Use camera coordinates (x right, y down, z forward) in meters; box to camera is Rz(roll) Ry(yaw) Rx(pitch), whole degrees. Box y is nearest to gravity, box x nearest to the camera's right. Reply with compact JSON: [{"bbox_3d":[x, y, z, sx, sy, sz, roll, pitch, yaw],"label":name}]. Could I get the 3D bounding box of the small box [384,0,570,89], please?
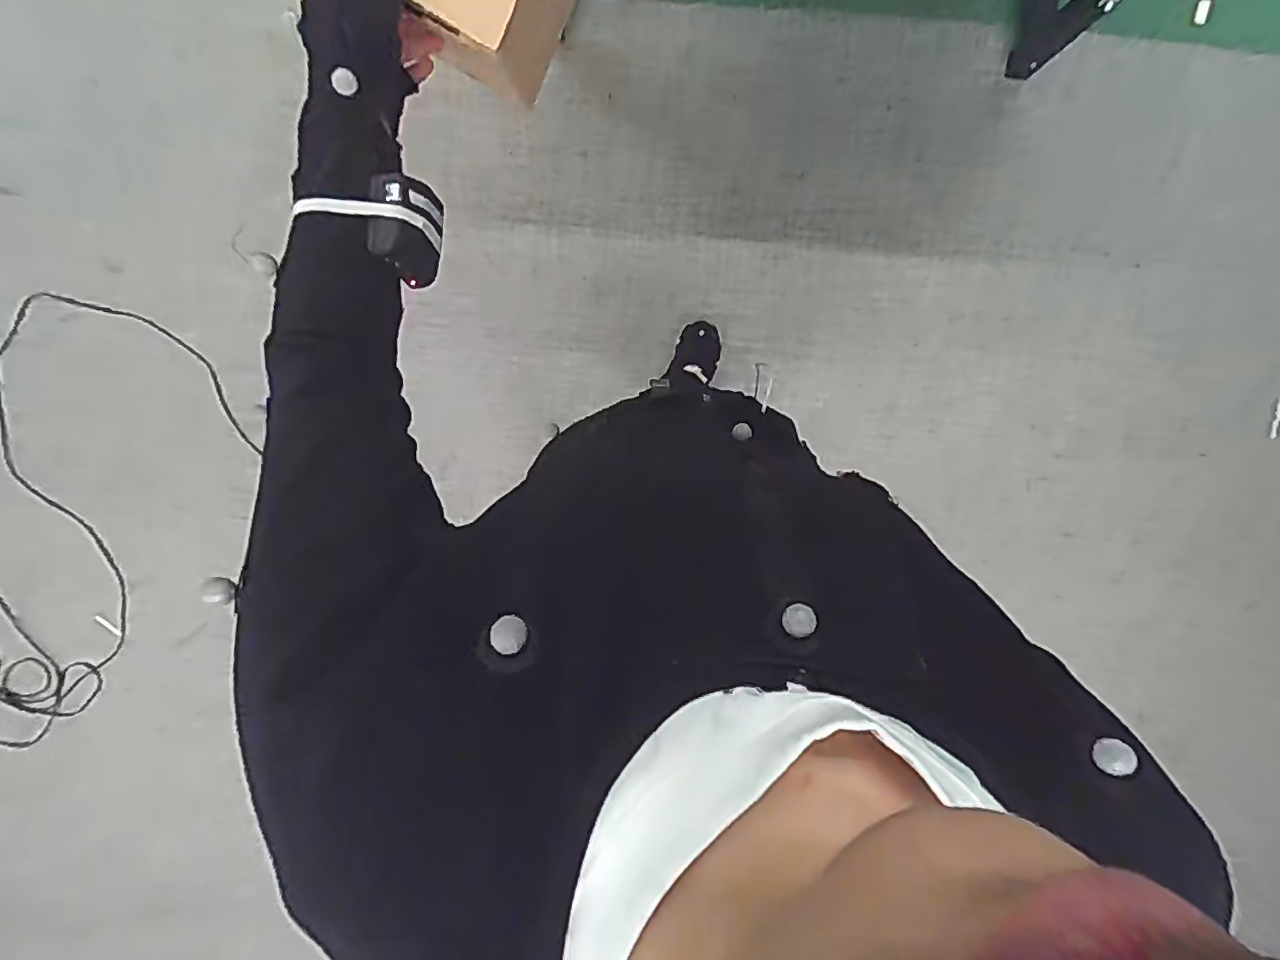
[{"bbox_3d":[-0.141,-0.474,0.449,0.168,0.176,0.179,25,109,-12],"label":"small box"}]
